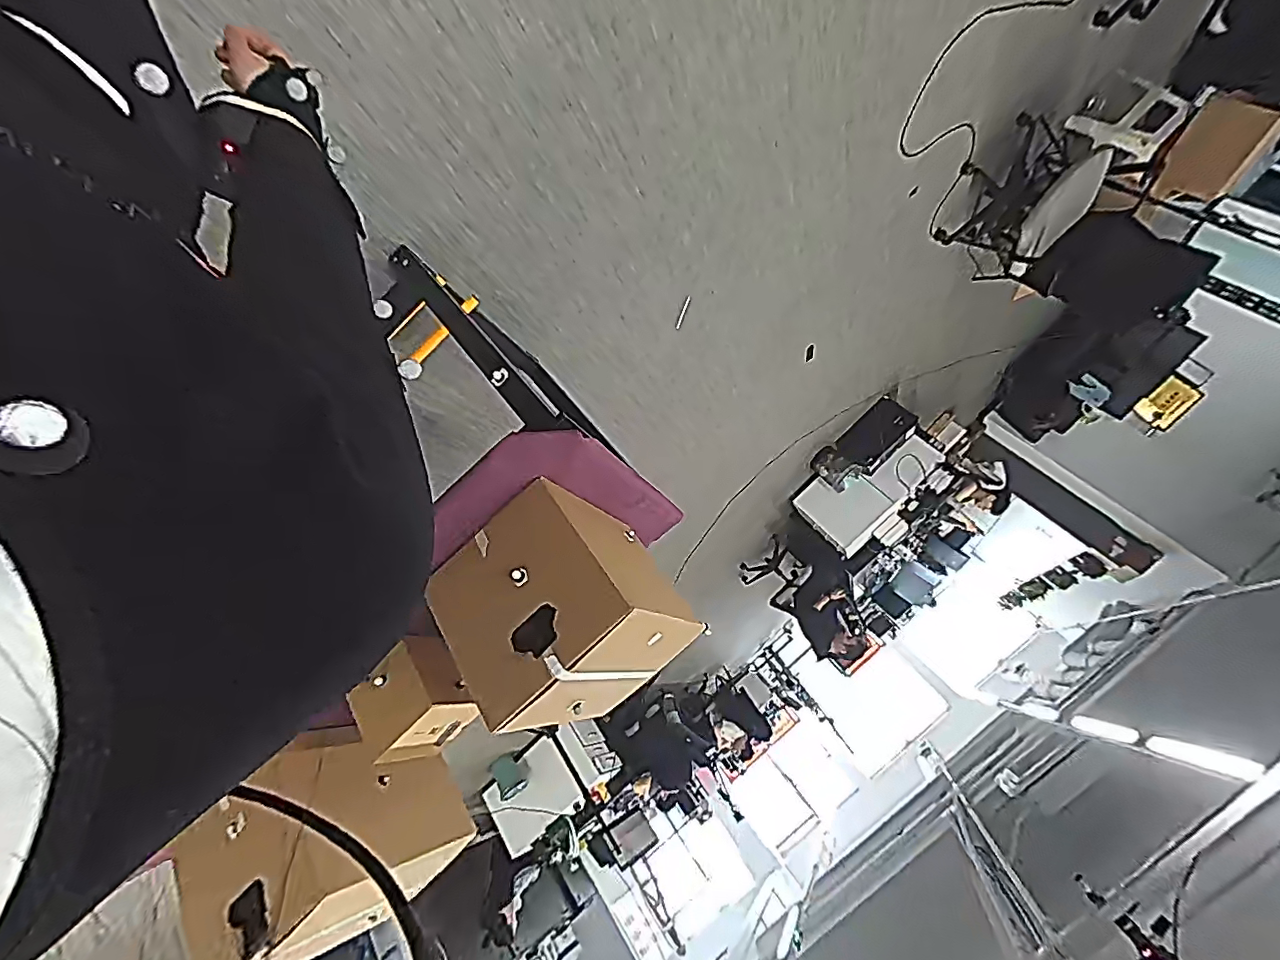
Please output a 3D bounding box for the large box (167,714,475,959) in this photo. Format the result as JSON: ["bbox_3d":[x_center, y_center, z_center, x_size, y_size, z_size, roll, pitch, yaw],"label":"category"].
[{"bbox_3d":[-0.643,0.733,1.129,0.320,0.320,0.408,-44,152,4],"label":"large box"}]
